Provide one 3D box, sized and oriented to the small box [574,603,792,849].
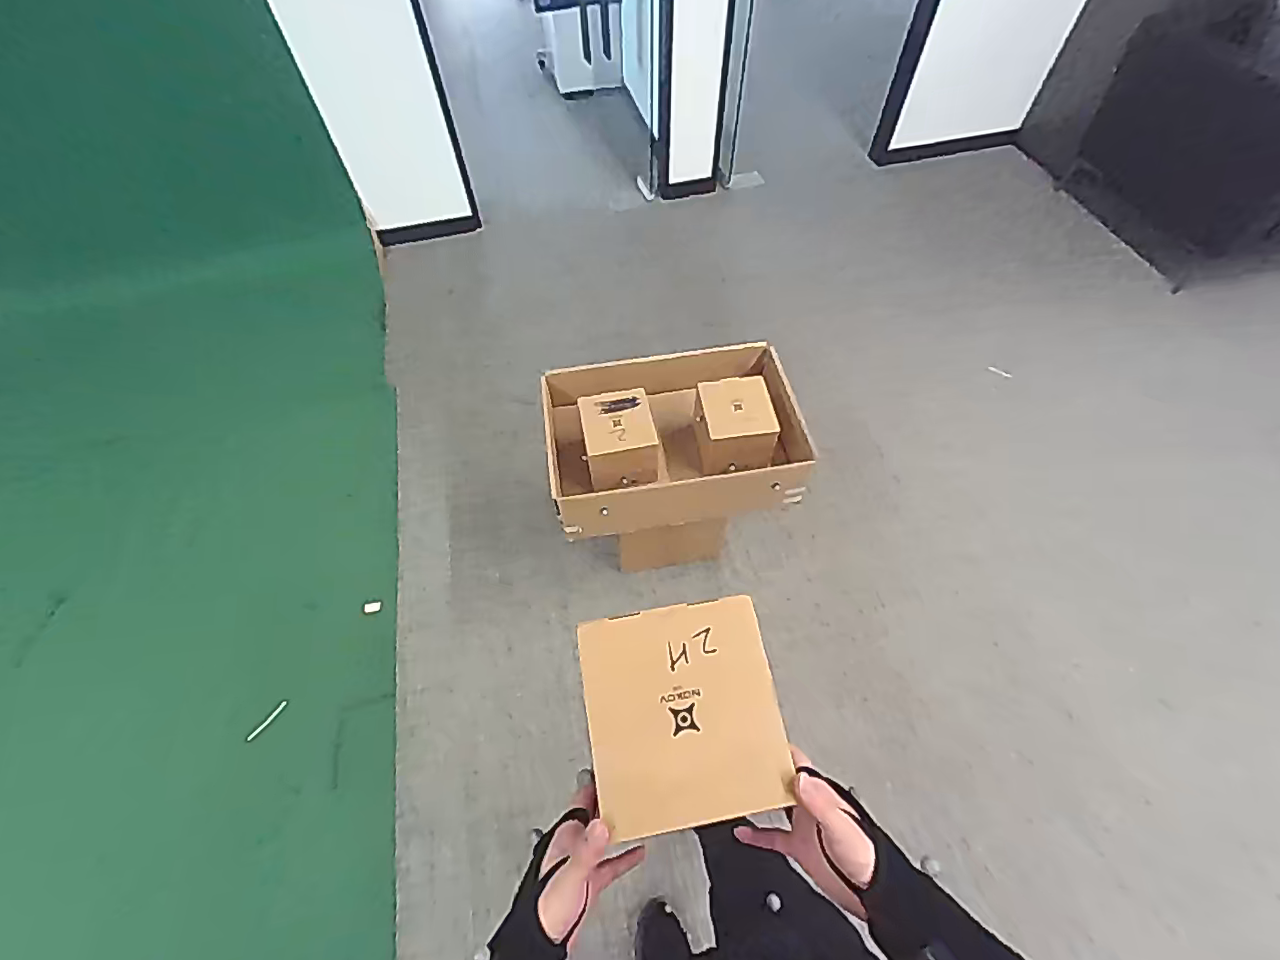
[{"bbox_3d":[0.030,0.235,0.538,0.168,0.176,0.179,-8,65,-6],"label":"small box"}]
